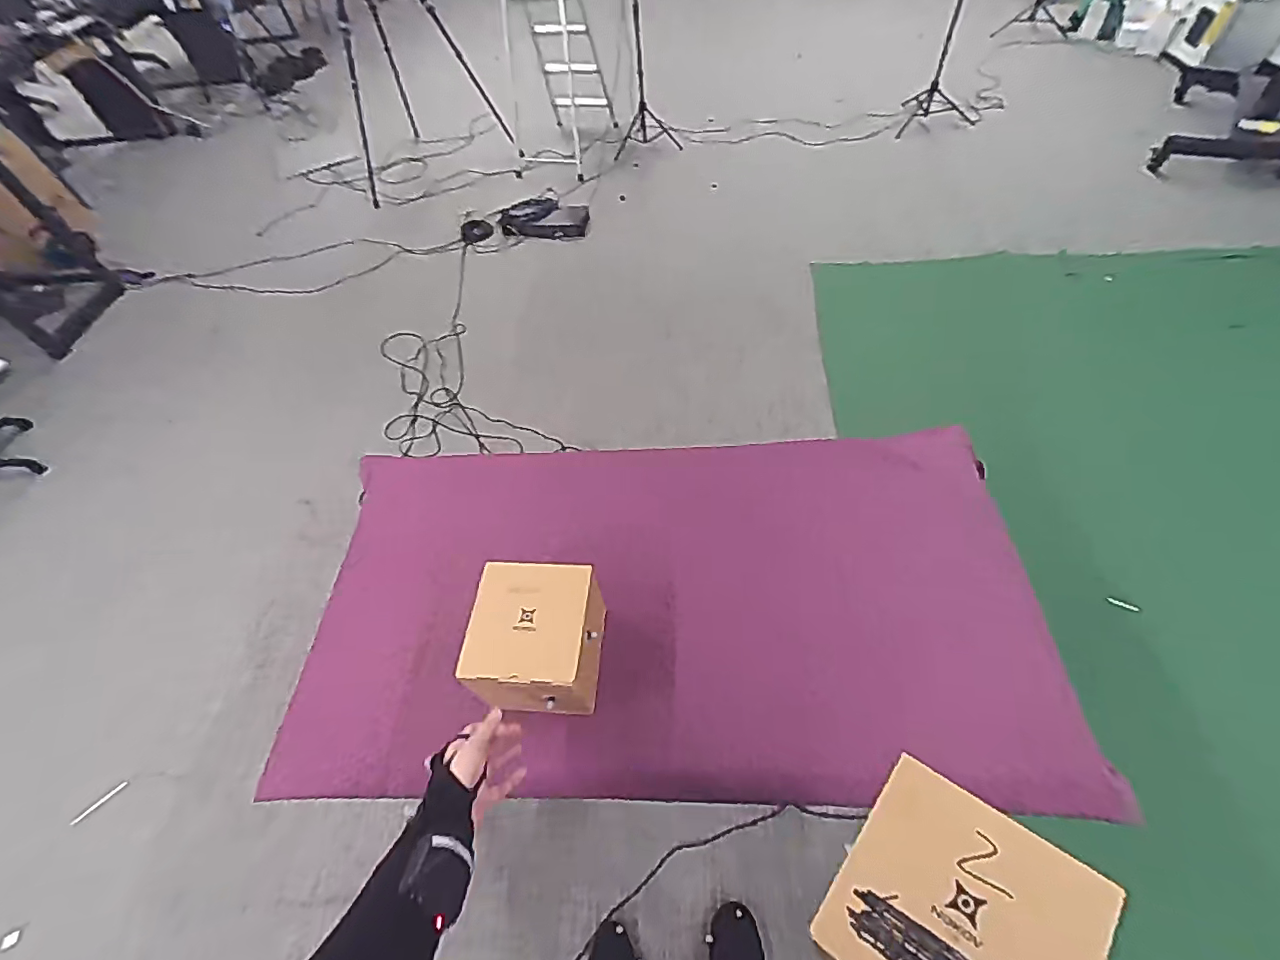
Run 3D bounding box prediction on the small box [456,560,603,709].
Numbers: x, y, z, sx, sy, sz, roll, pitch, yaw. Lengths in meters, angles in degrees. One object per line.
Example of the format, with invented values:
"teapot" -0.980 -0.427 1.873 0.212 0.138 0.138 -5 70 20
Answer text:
"small box" -0.155 0.242 0.834 0.168 0.176 0.179 2 54 6
